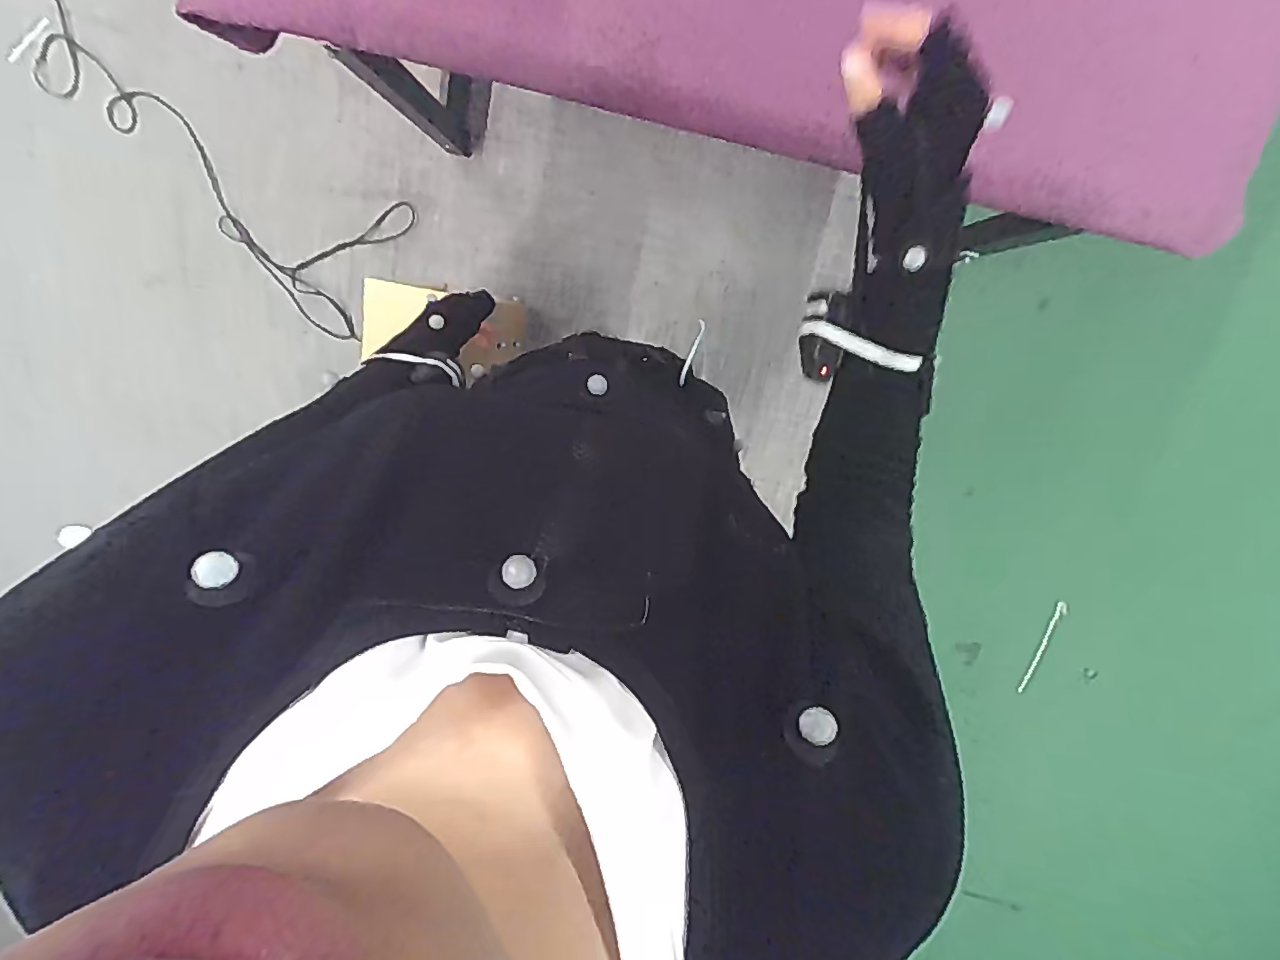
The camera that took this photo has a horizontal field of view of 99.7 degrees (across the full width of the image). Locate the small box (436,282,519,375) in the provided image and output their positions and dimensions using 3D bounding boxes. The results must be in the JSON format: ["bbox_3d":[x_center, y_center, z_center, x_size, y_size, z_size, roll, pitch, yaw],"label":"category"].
[{"bbox_3d":[-0.404,-0.370,1.321,0.168,0.176,0.179,14,107,-3],"label":"small box"}]

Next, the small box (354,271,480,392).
[{"bbox_3d":[-0.406,-0.277,1.006,0.168,0.176,0.179,11,108,-2],"label":"small box"}]
